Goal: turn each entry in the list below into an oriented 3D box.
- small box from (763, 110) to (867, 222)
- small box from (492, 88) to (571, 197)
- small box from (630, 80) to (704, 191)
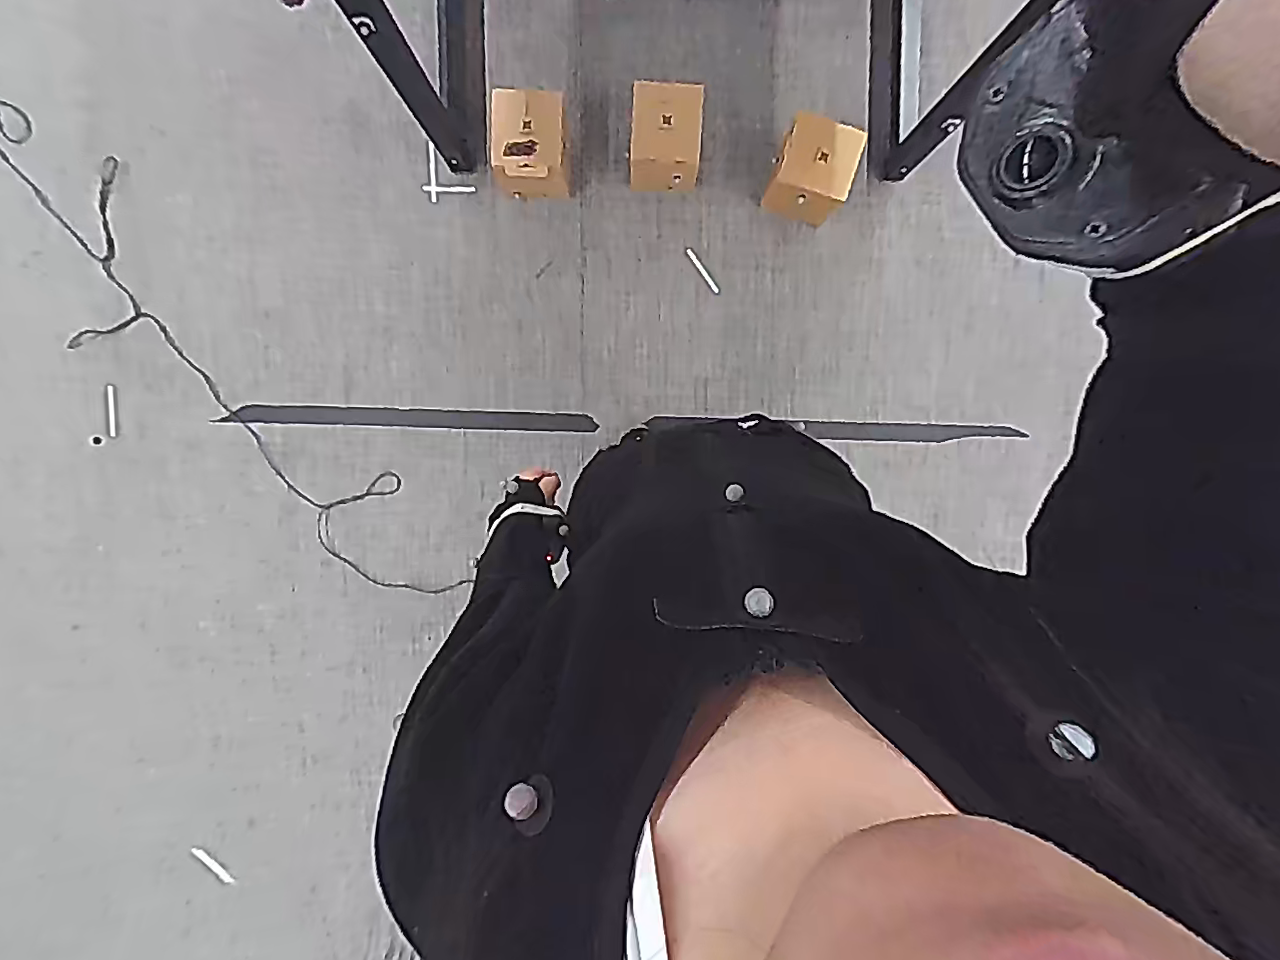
[{"bbox_3d":[0.428,-0.771,1.350,0.179,0.176,0.168,18,95,-1],"label":"small box"},{"bbox_3d":[-0.262,-0.822,1.332,0.168,0.176,0.179,2,94,-1],"label":"small box"},{"bbox_3d":[0.061,-0.841,1.338,0.168,0.176,0.179,2,94,-2],"label":"small box"}]
